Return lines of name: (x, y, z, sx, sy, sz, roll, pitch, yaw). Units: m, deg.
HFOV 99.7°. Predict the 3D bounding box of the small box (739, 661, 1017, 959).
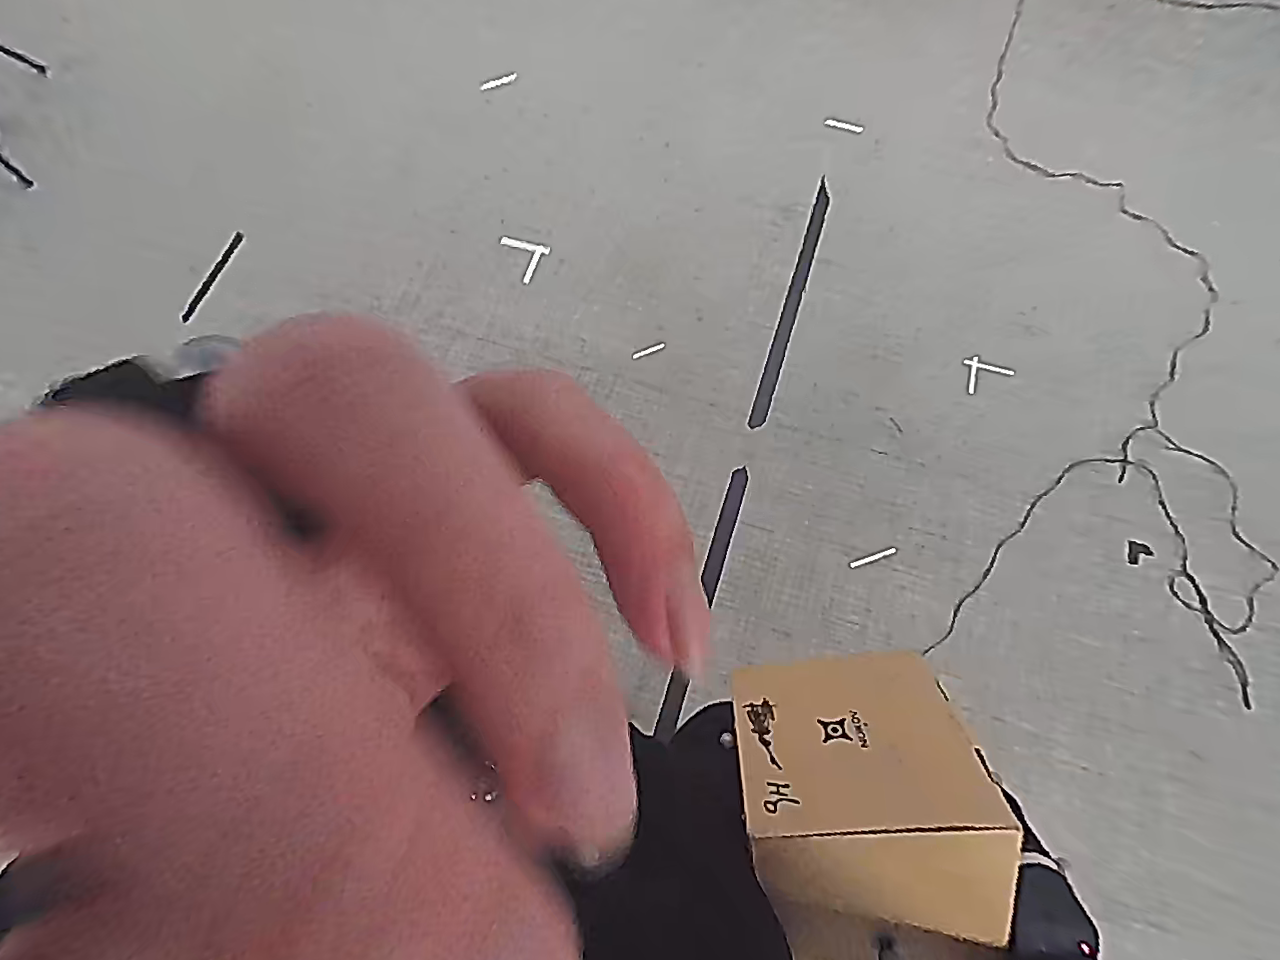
small box: (0.187, 0.286, 0.474, 0.179, 0.168, 0.176, -8, 112, 8)
